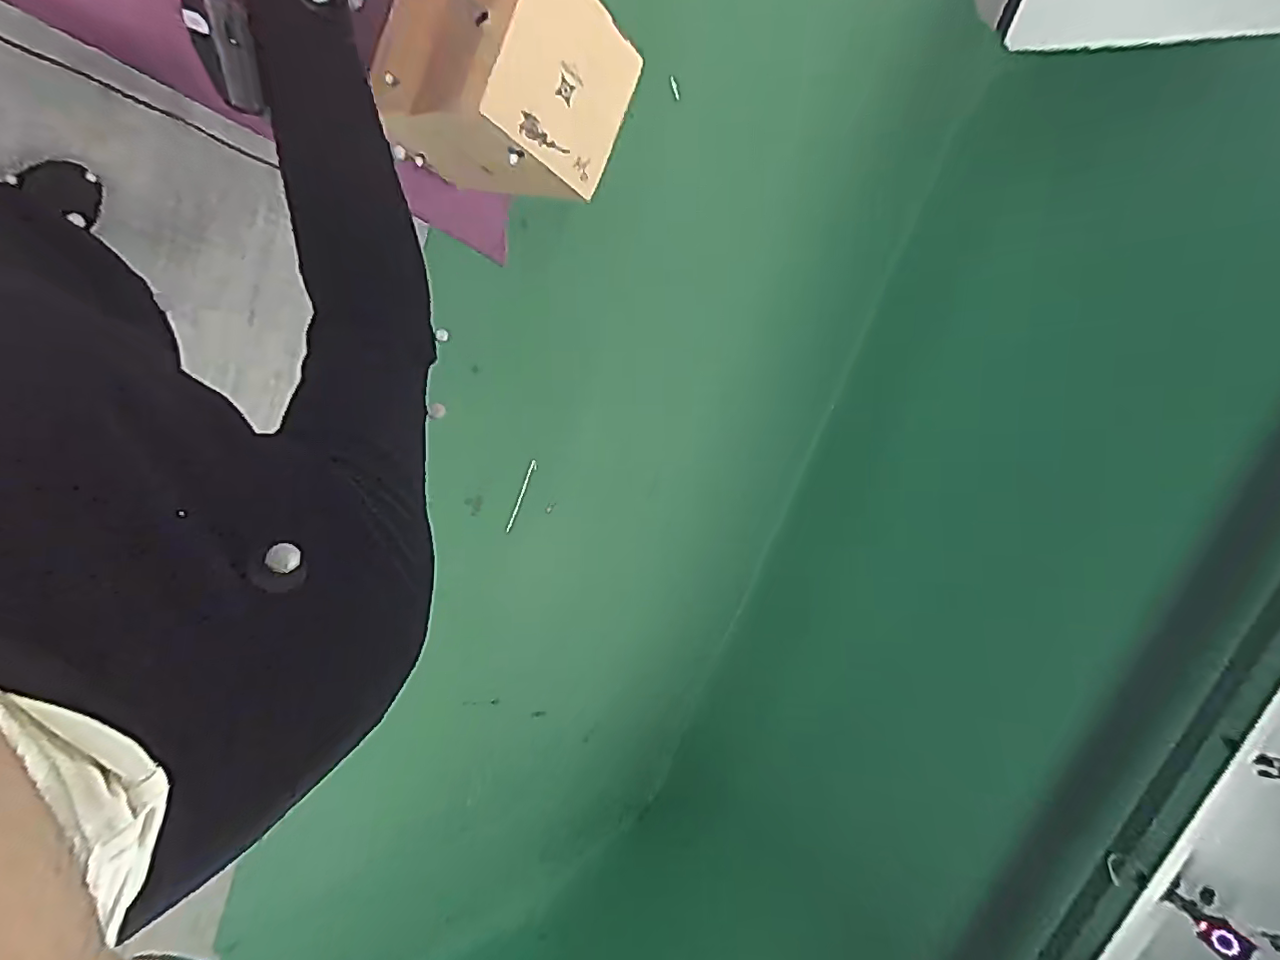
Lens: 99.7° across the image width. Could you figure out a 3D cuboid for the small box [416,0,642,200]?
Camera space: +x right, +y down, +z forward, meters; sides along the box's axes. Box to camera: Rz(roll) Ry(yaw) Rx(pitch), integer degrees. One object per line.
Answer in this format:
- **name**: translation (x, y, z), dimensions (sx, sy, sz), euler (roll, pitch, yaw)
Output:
- **small box**: translation (-0.134, -0.461, 0.634), dimensions (0.168, 0.176, 0.179), euler (16, 100, -51)
